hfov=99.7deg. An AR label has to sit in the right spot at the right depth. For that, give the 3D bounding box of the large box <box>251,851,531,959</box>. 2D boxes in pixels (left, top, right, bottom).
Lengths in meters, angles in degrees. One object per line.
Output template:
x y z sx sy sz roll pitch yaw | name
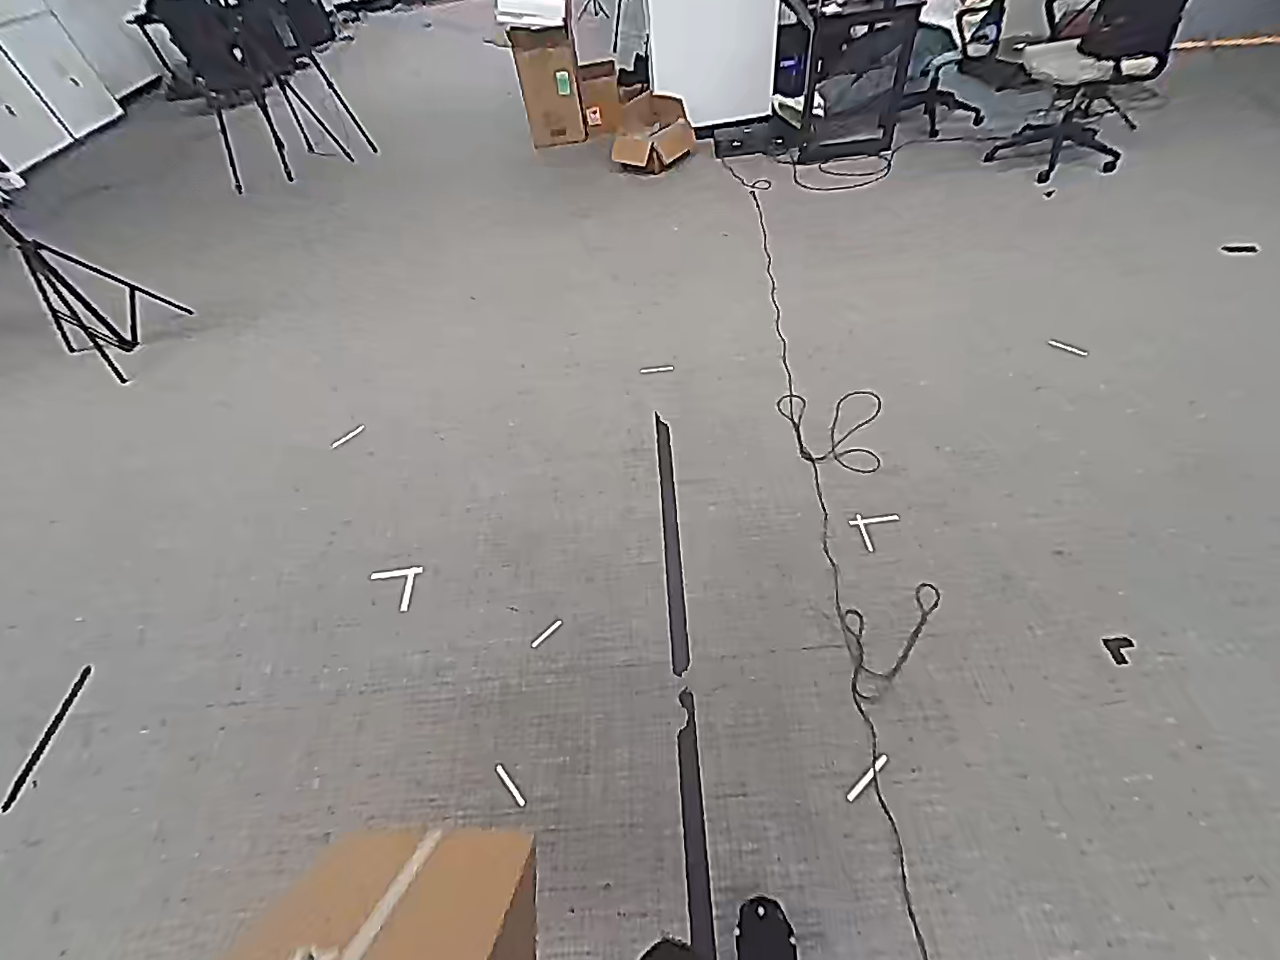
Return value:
-0.323 0.735 0.661 0.320 0.408 0.320 -3 86 1 | large box
